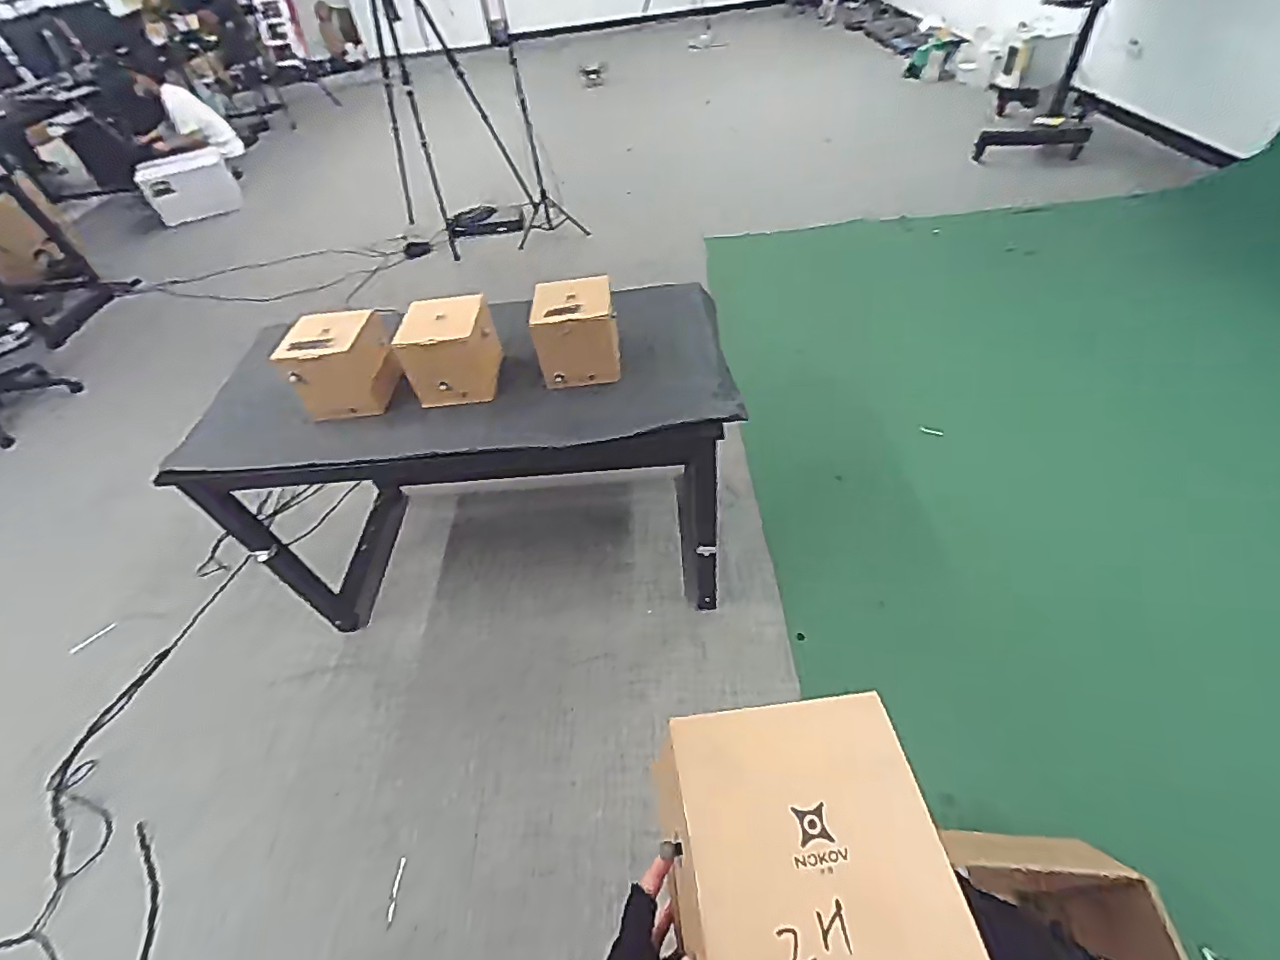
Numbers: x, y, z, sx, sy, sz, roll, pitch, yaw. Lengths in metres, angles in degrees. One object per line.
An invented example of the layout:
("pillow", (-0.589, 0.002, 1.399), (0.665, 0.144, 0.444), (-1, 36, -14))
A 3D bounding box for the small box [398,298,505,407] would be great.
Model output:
("small box", (-0.414, -0.286, 1.223), (0.168, 0.176, 0.179), (-5, 48, 2))

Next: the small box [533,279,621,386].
("small box", (-0.134, -0.326, 1.217), (0.168, 0.176, 0.179), (-6, 47, 3))

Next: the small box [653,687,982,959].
("small box", (0.105, 0.282, 0.412), (0.168, 0.176, 0.179), (-4, 50, -7))
